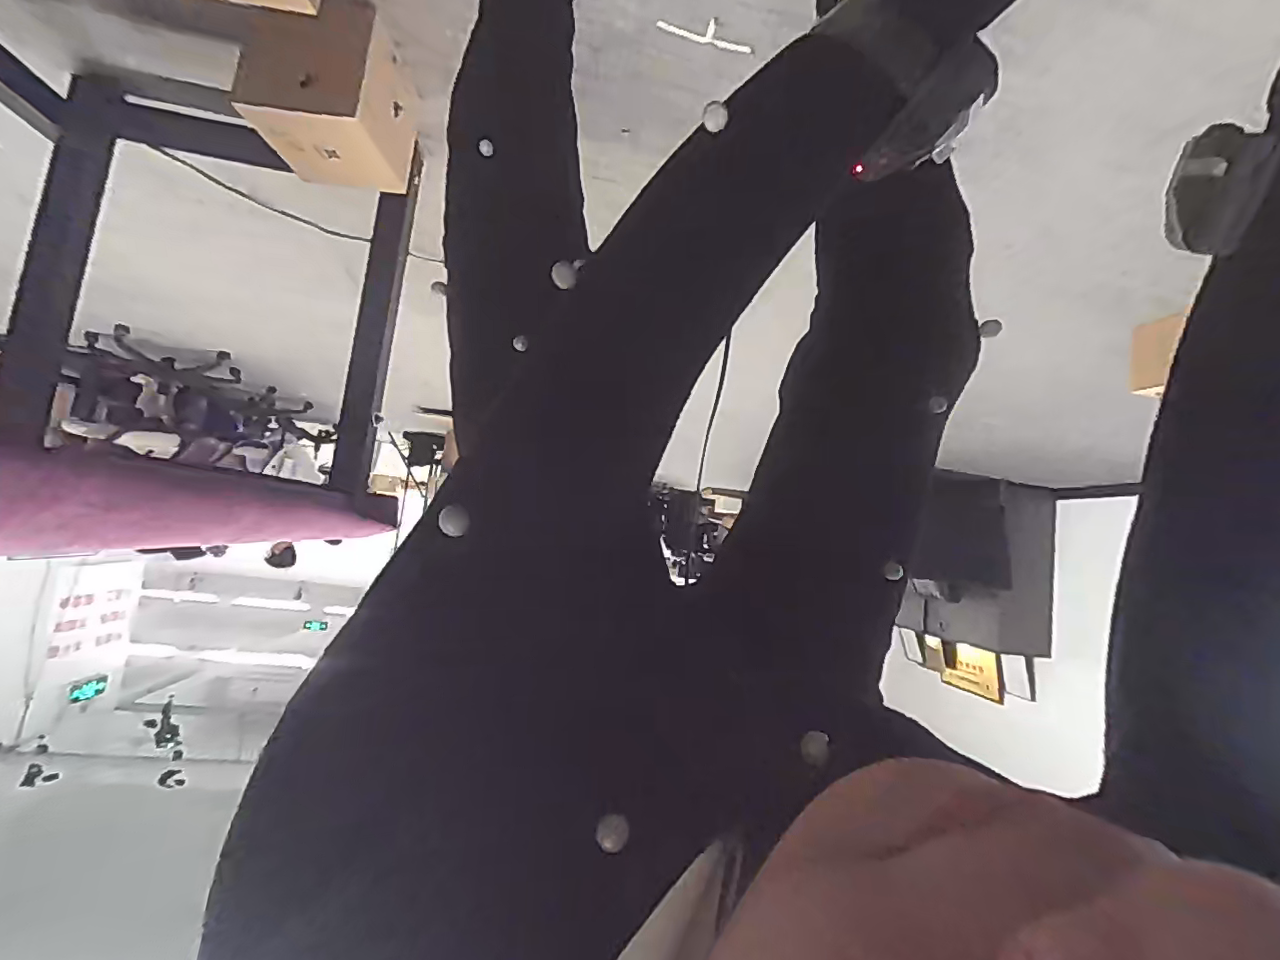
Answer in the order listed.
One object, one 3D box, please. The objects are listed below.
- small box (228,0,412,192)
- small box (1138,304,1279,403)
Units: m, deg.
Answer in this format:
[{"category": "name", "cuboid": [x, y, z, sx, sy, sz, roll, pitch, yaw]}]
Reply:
[{"category": "small box", "cuboid": [-0.454, -0.563, 0.798, 0.179, 0.176, 0.168, 7, 173, -1]}, {"category": "small box", "cuboid": [1.323, -0.294, 1.268, 0.168, 0.176, 0.179, 8, 173, -10]}]
